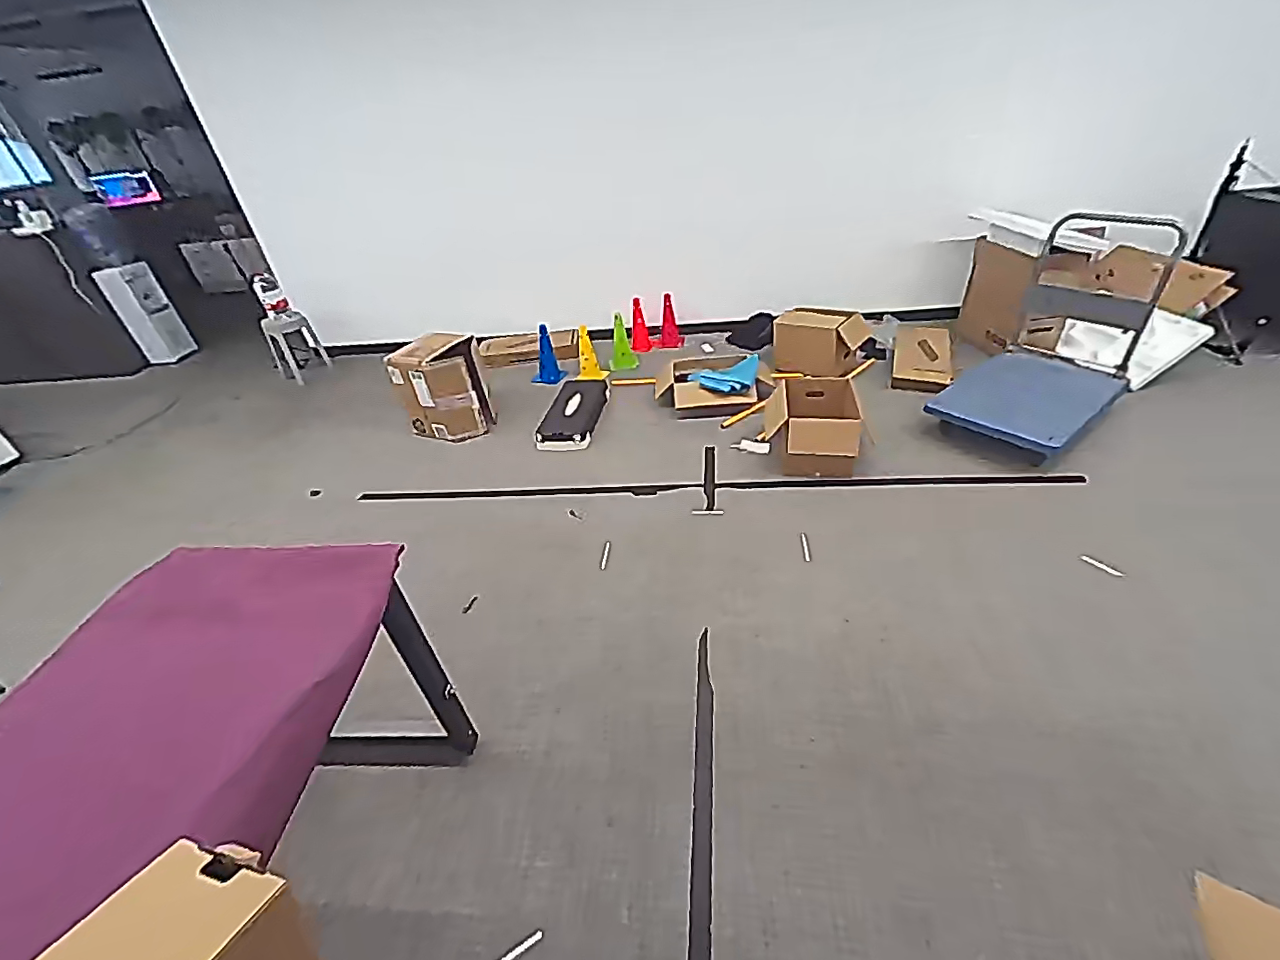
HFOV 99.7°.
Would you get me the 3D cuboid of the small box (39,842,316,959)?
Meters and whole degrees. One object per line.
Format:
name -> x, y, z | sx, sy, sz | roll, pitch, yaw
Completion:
small box -> -0.424, 0.484, 0.487 | 0.168, 0.176, 0.179 | 0, 18, 22
